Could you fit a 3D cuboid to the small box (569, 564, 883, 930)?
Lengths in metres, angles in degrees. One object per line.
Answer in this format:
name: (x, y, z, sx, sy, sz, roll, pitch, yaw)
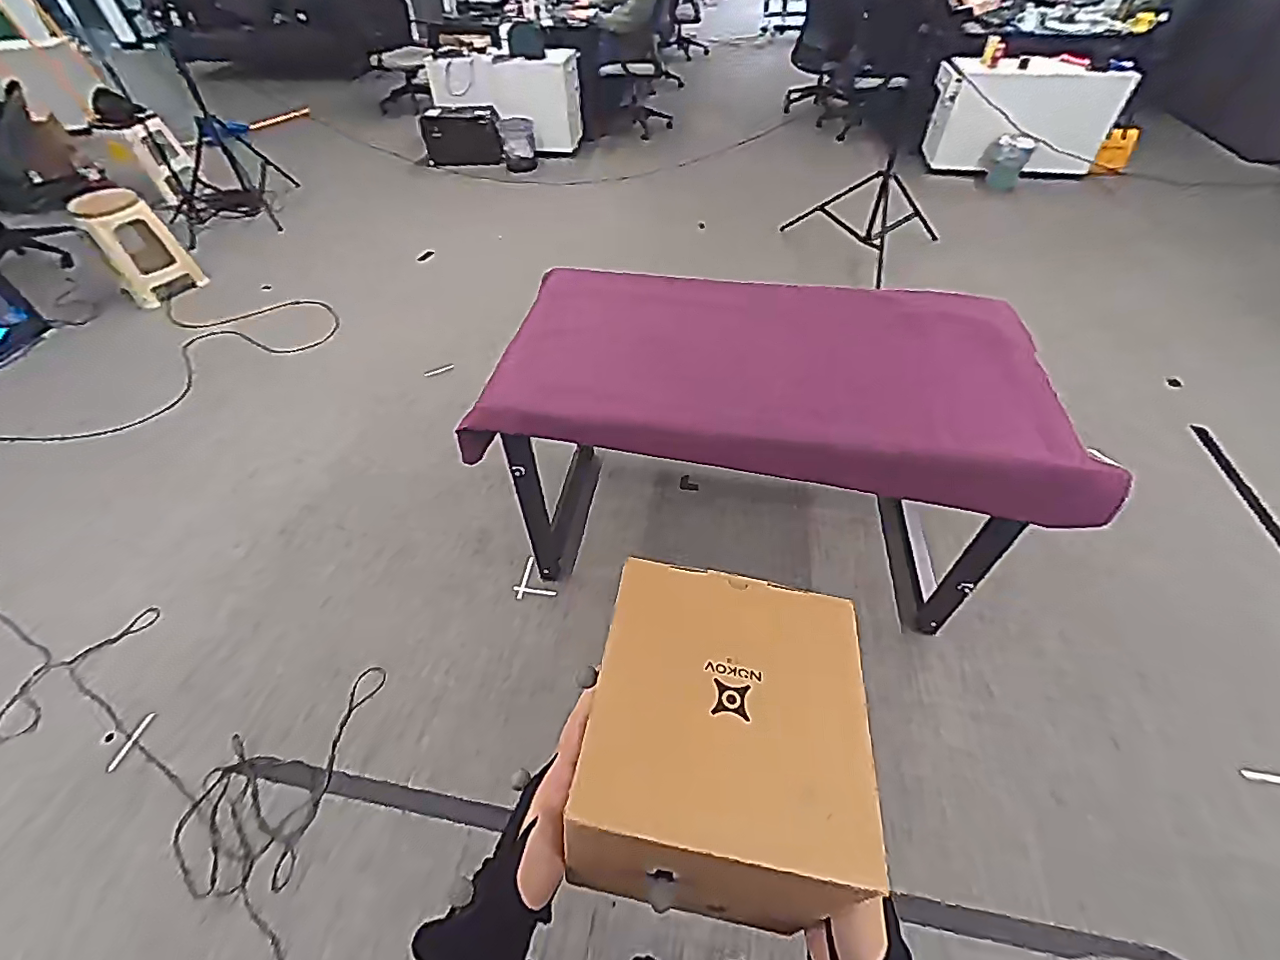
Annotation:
small box: (0.052, 0.192, 0.391, 0.168, 0.176, 0.179, 10, 43, 4)
